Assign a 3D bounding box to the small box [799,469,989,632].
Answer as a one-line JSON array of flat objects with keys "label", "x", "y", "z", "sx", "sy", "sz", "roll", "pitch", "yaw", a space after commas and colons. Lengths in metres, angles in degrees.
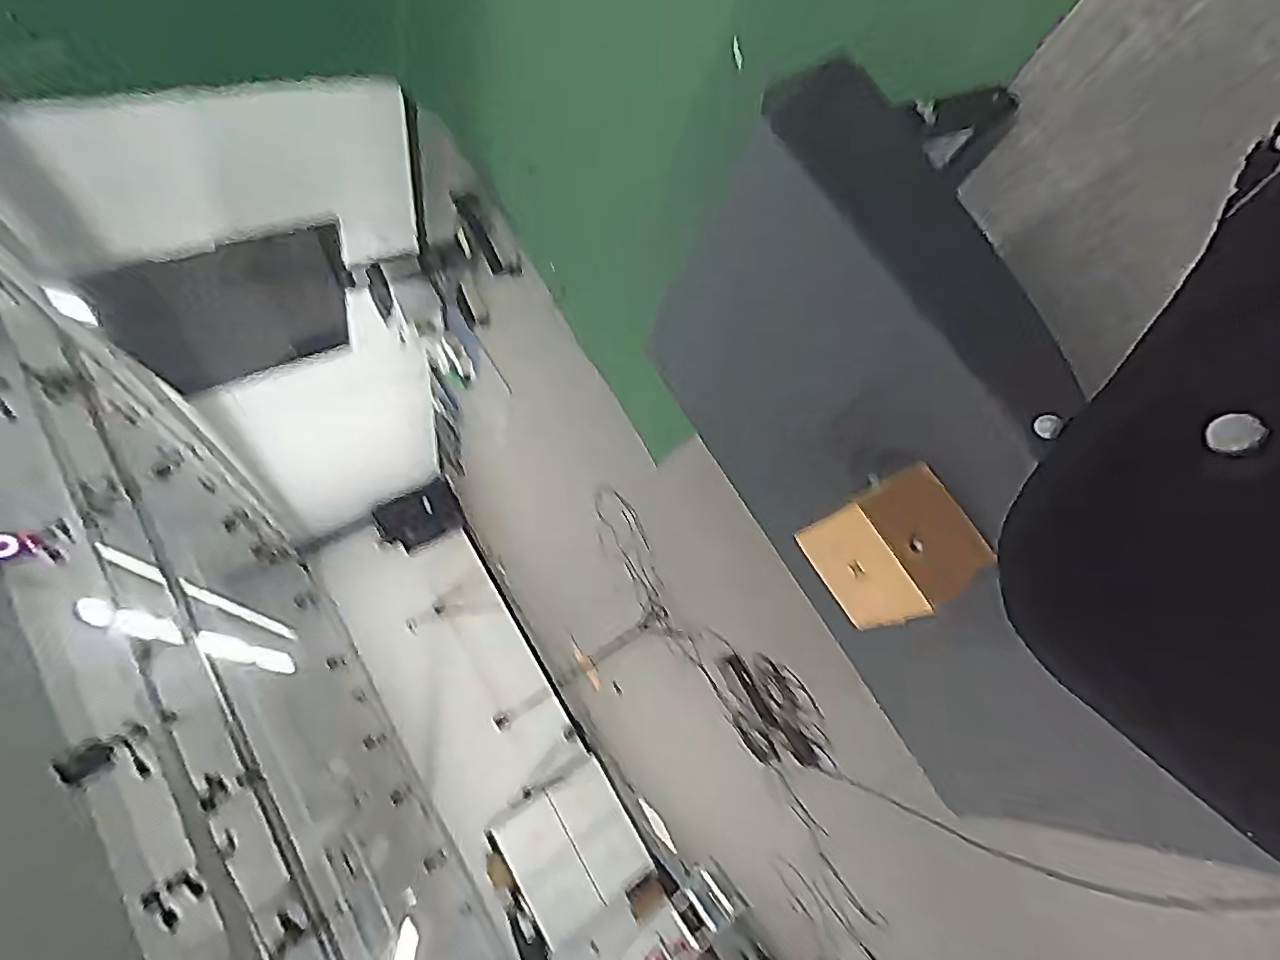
[{"label": "small box", "x": 0.397, "y": 0.111, "z": 0.852, "sx": 0.179, "sy": 0.176, "sz": 0.168, "roll": 58, "pitch": 153, "yaw": 12}]
